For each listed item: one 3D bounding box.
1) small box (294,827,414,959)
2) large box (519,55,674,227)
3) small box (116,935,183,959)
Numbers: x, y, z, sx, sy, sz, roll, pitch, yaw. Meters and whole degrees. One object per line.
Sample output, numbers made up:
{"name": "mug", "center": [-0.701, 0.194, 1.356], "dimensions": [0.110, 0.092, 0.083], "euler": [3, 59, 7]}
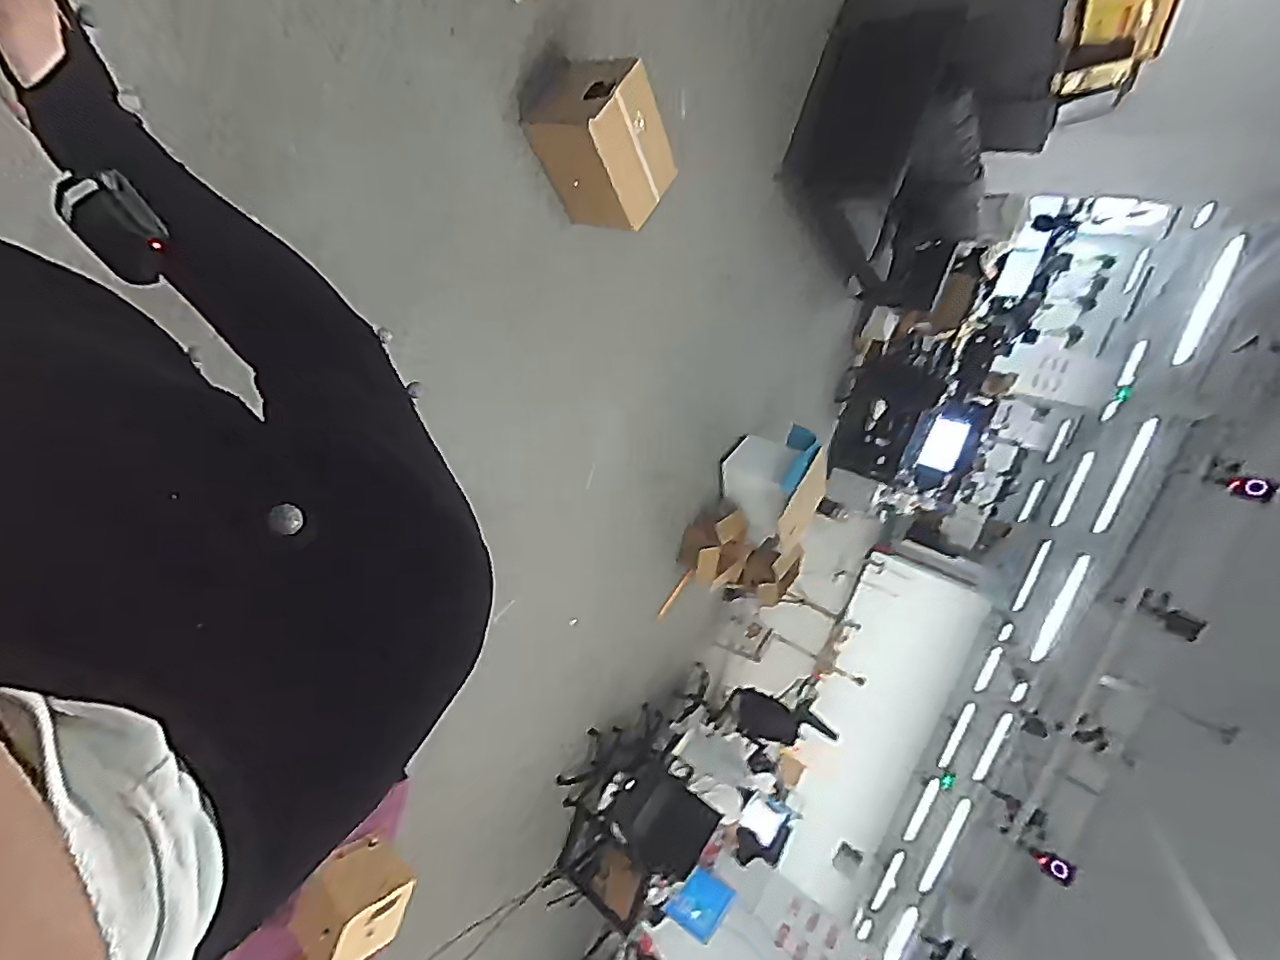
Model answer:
{"name": "small box", "center": [-0.666, 0.949, 1.254], "dimensions": [0.168, 0.176, 0.179], "euler": [10, 105, -59]}
{"name": "large box", "center": [-0.138, -1.164, 1.880], "dimensions": [0.320, 0.320, 0.408], "euler": [-59, 148, -12]}
{"name": "small box", "center": [-0.883, 0.947, 0.918], "dimensions": [0.168, 0.176, 0.179], "euler": [5, 108, -59]}
